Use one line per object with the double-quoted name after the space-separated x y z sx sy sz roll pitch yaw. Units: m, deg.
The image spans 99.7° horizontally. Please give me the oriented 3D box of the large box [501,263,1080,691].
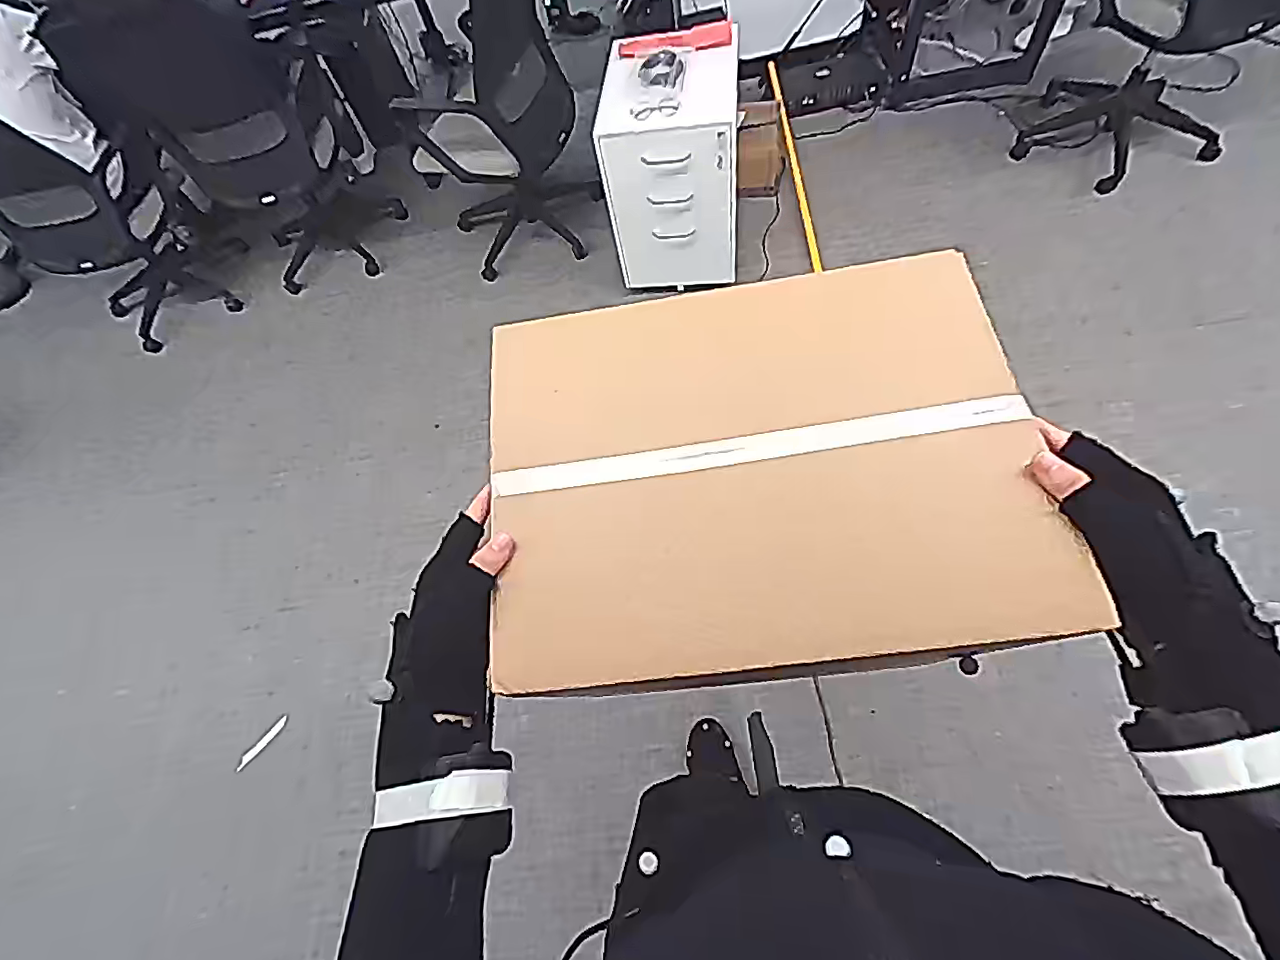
0.104 0.034 0.565 0.408 0.320 0.320 -8 67 5 "large box"
